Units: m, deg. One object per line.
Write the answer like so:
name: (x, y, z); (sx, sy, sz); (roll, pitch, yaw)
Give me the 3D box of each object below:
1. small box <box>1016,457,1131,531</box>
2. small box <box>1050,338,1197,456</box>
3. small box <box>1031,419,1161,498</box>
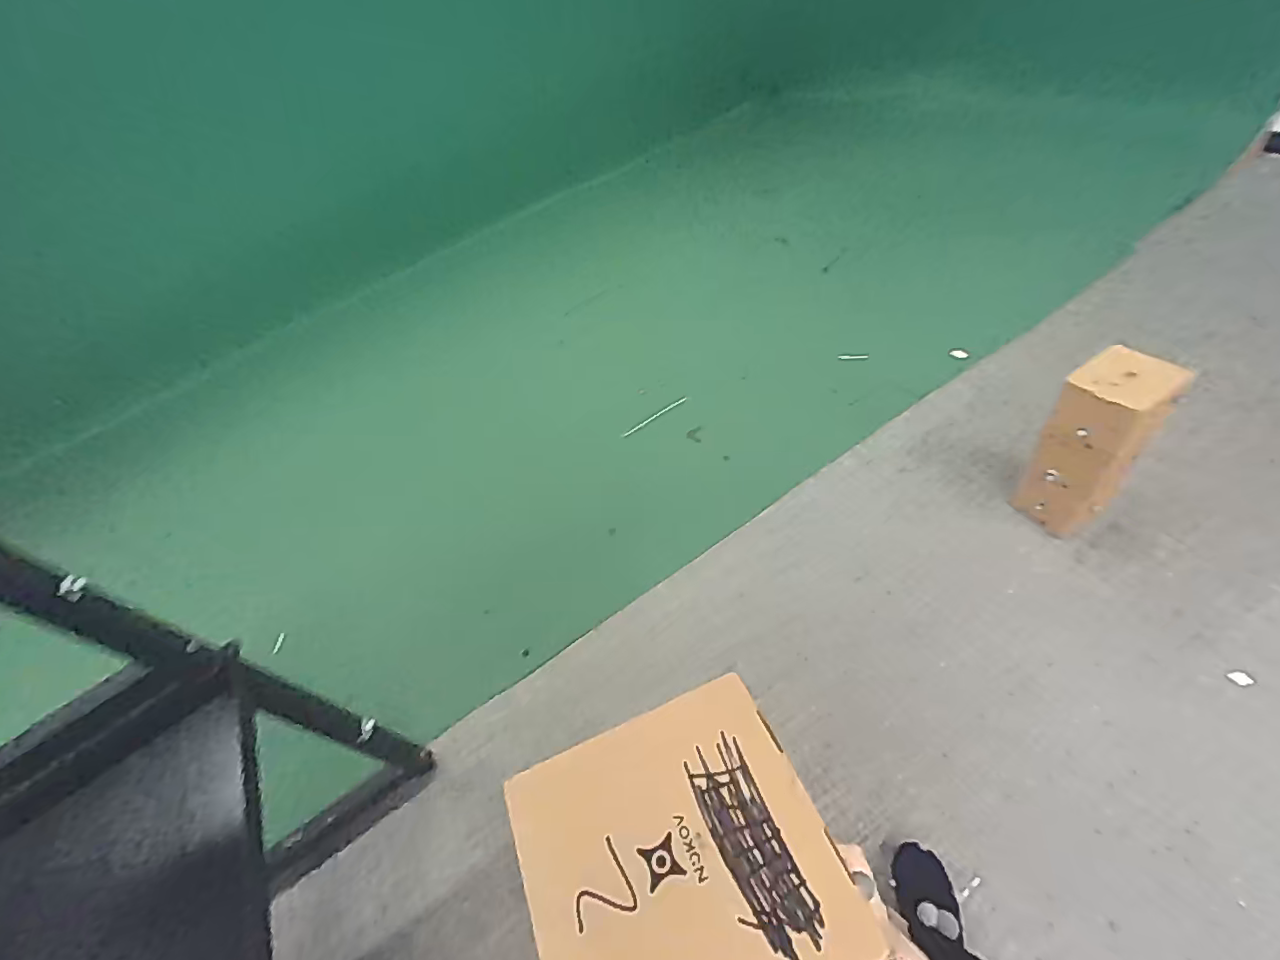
small box: (1.180, 0.010, 1.493); (0.179, 0.176, 0.168); (-31, 48, -7)
small box: (1.097, -0.190, 1.247); (0.179, 0.176, 0.168); (-32, 47, -10)
small box: (1.140, -0.089, 1.371); (0.179, 0.176, 0.168); (-33, 47, -9)
